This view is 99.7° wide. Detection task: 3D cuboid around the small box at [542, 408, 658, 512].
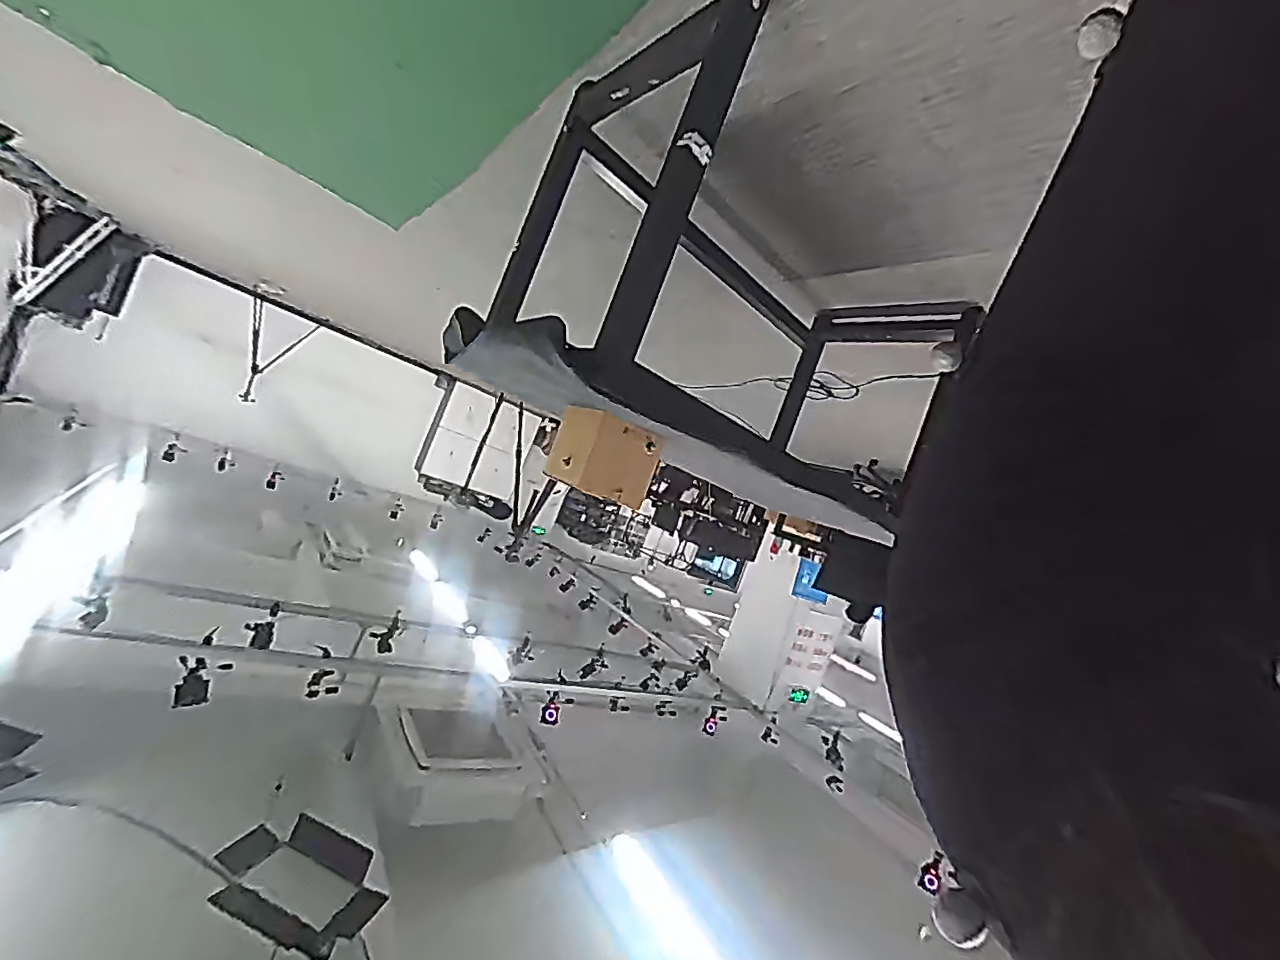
[{"bbox_3d":[-0.082,-0.048,1.167,0.168,0.176,0.179,22,179,-35],"label":"small box"}]
